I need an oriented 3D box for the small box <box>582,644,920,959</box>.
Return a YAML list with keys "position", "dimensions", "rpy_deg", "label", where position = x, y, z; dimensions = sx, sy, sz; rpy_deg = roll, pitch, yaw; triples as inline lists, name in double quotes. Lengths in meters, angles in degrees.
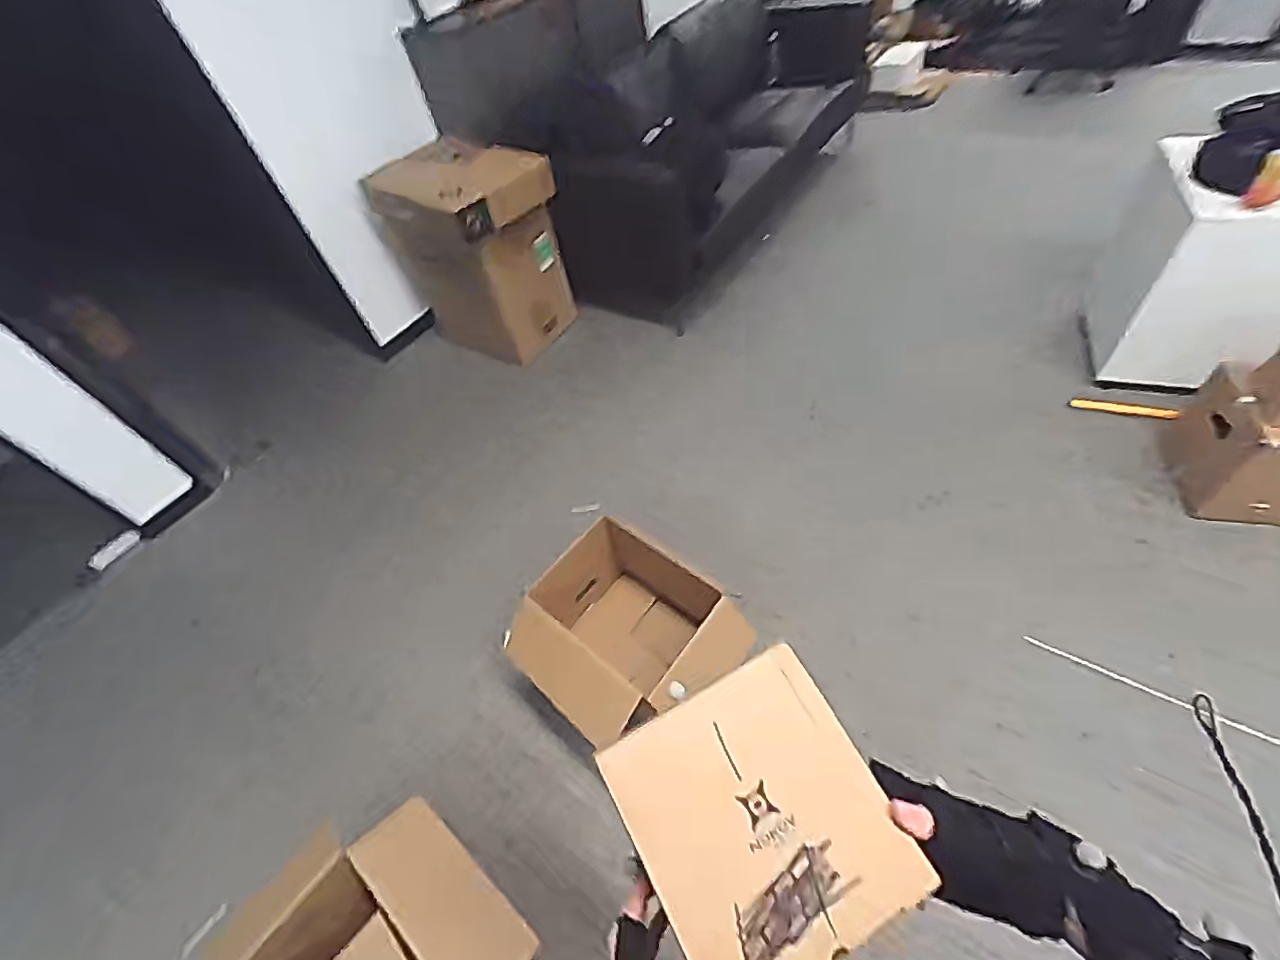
- position: [0.067, 0.258, 0.430]
  dimensions: [0.168, 0.176, 0.179]
  rpy_deg: [-26, 68, -16]
  label: "small box"
